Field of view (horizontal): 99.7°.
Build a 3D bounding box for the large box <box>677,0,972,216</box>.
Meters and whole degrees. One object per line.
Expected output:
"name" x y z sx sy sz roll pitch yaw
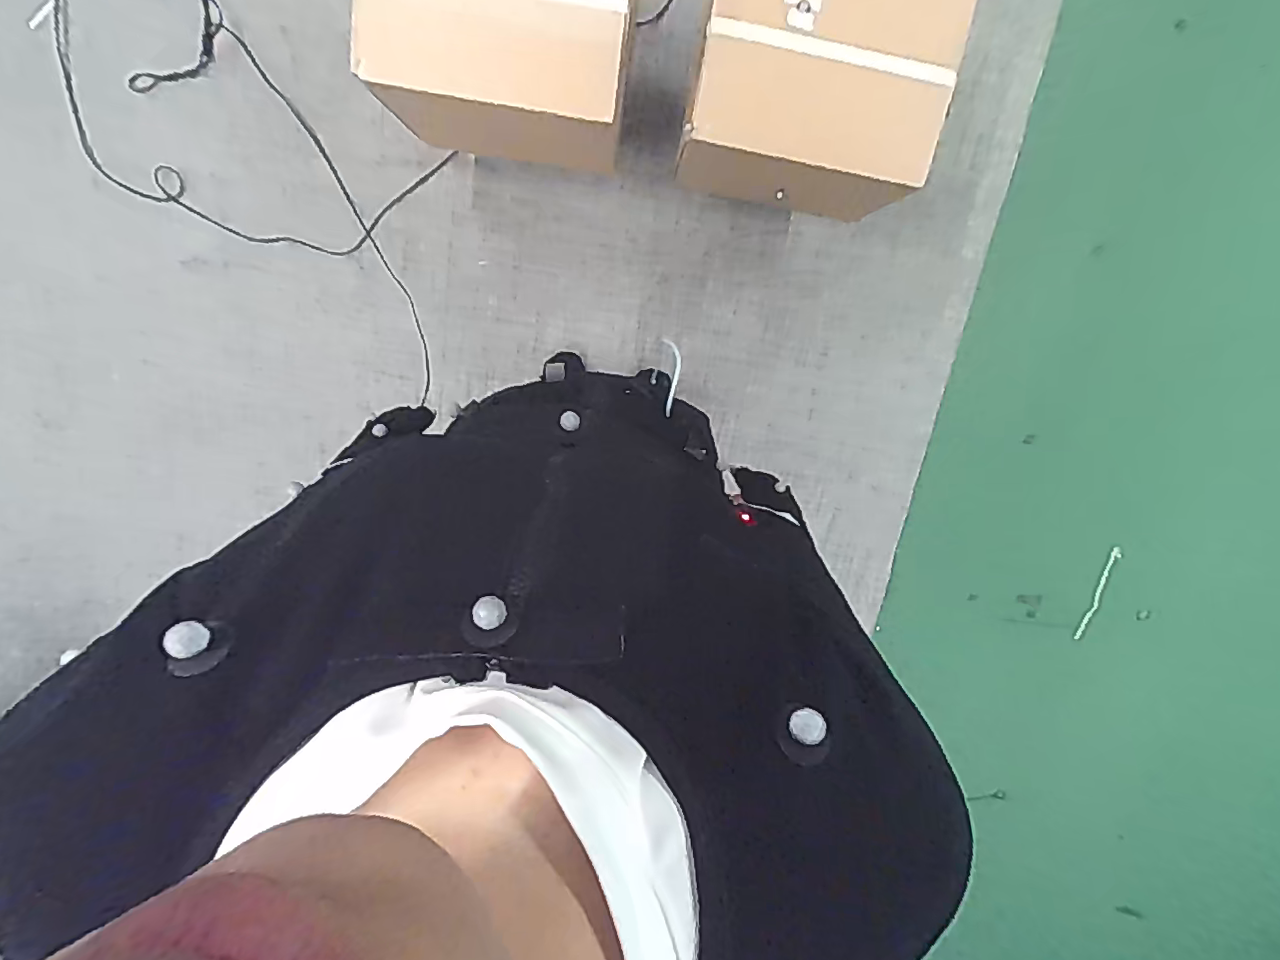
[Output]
"large box" 0.305 -0.716 1.008 0.408 0.320 0.320 10 105 -4
